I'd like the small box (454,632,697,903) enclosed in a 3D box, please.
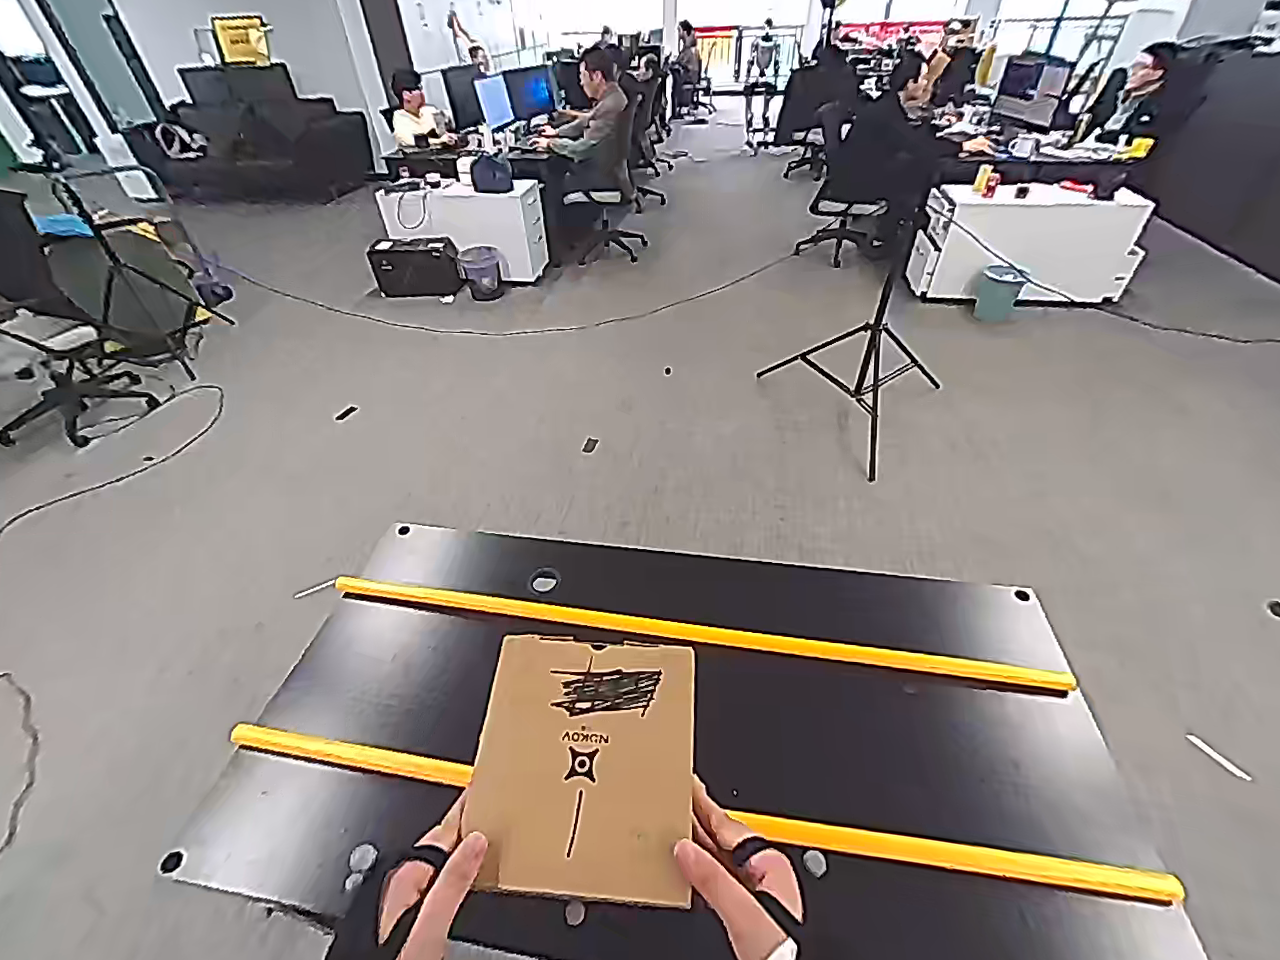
[{"bbox_3d":[-0.040,0.254,0.477,0.168,0.176,0.179,3,52,4],"label":"small box"}]
